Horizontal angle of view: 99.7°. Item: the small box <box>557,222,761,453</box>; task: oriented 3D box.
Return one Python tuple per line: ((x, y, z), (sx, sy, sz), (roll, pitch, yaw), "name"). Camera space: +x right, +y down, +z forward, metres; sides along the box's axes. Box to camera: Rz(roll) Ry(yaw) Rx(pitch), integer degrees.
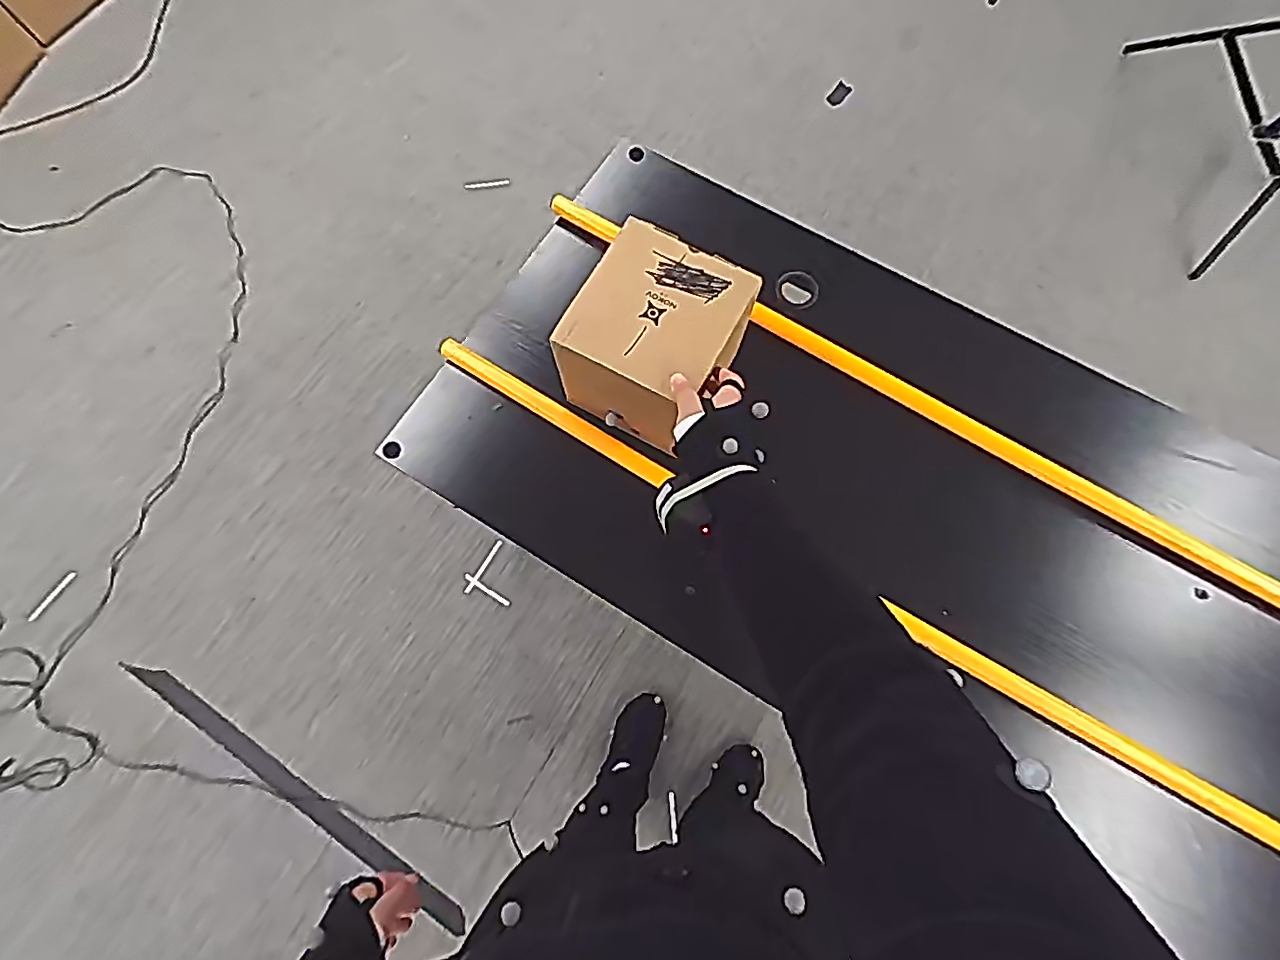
((0.021, -0.160, 0.655), (0.168, 0.176, 0.179), (28, 77, 7), "small box")
